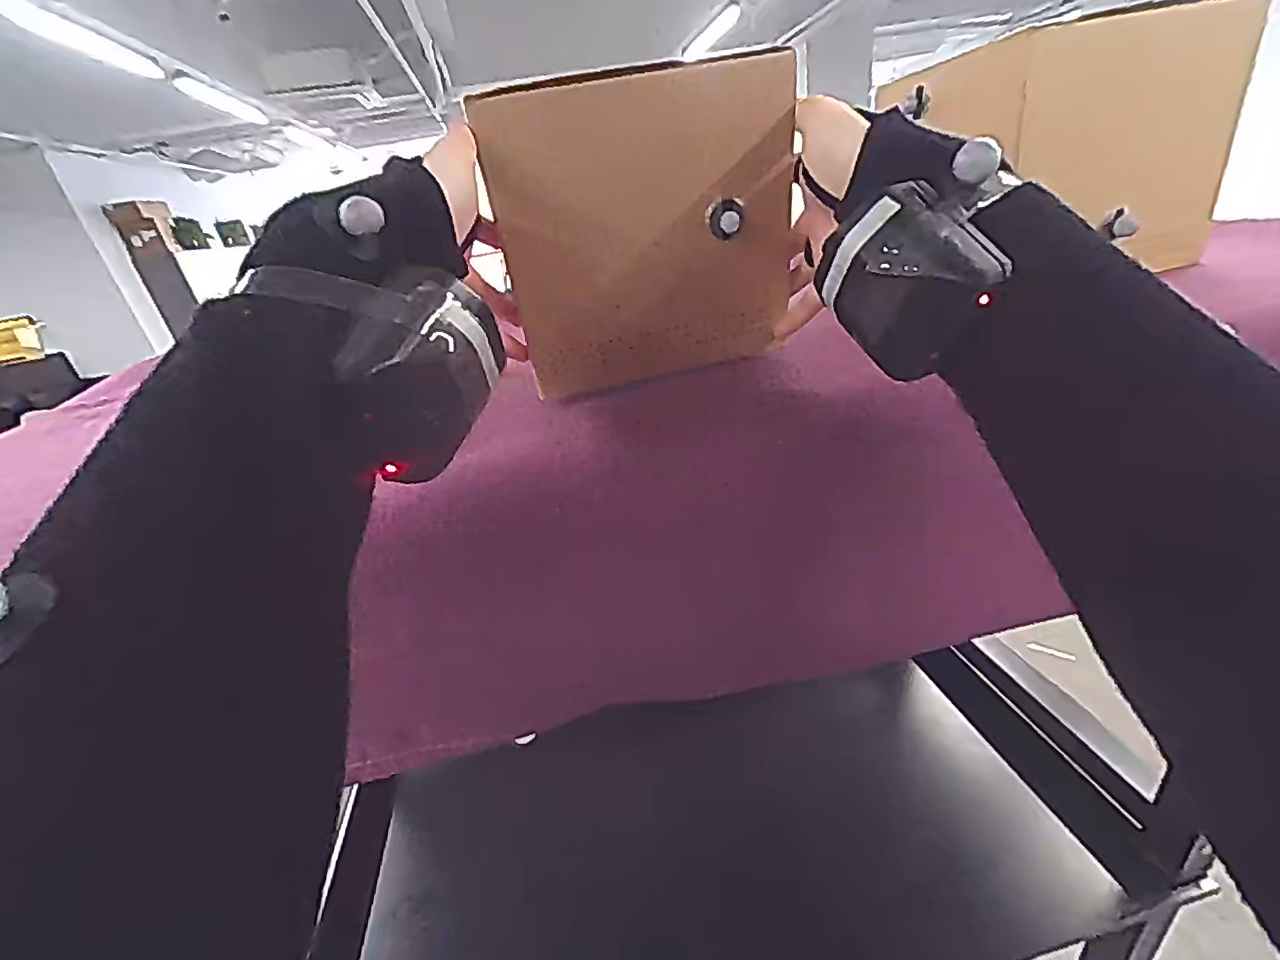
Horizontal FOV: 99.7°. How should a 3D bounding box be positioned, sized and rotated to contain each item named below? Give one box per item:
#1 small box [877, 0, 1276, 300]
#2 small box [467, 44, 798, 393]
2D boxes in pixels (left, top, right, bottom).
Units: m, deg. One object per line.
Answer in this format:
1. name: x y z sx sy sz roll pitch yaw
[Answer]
1. small box: 0.313 -0.253 0.434 0.179 0.176 0.168 -13 26 -6
2. small box: -0.008 -0.182 0.381 0.179 0.176 0.168 -15 35 -6
